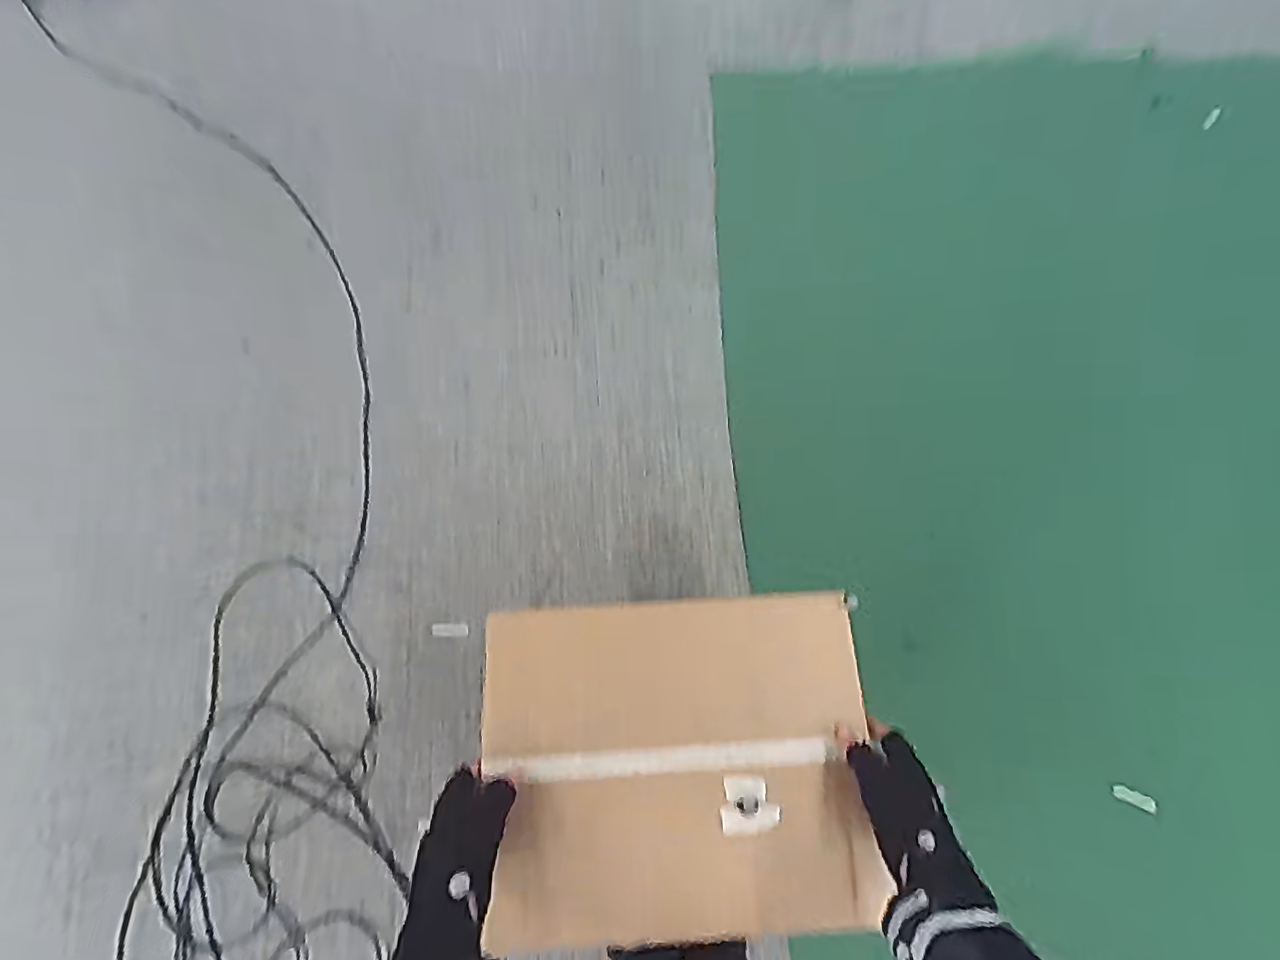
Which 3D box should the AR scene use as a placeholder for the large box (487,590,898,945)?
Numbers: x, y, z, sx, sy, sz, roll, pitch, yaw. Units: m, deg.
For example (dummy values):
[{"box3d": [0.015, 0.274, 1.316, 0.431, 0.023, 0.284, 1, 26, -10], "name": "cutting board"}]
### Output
[{"box3d": [0.041, 0.334, 0.704, 0.408, 0.320, 0.320, -3, 71, -1], "name": "large box"}]
